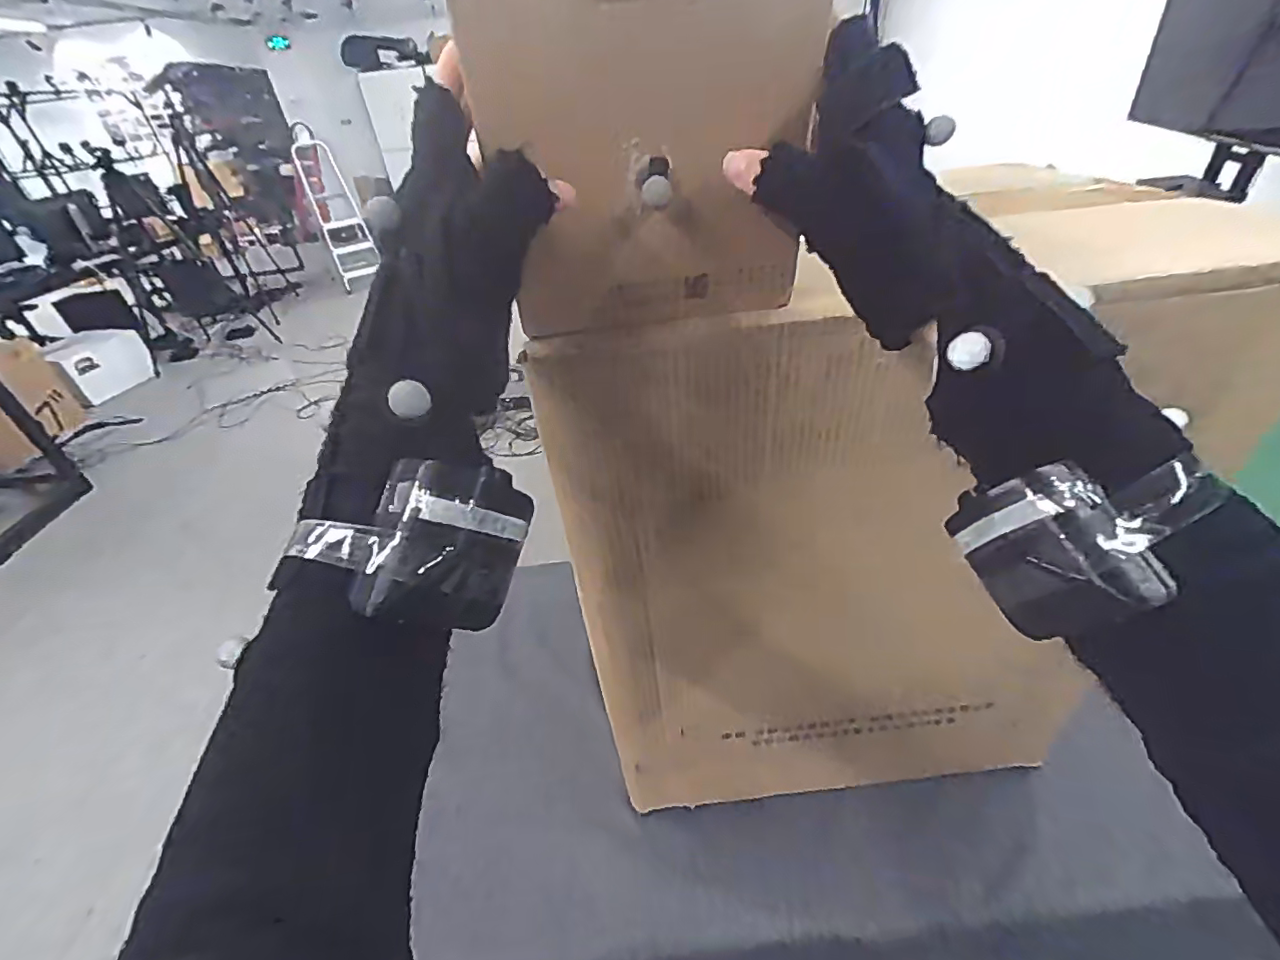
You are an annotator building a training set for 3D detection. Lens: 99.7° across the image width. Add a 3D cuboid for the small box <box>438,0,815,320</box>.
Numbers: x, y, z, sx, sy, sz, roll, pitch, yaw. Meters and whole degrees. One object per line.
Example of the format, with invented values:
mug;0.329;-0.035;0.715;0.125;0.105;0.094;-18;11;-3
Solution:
small box;-0.003;-0.211;0.332;0.168;0.176;0.179;-7;45;-1
